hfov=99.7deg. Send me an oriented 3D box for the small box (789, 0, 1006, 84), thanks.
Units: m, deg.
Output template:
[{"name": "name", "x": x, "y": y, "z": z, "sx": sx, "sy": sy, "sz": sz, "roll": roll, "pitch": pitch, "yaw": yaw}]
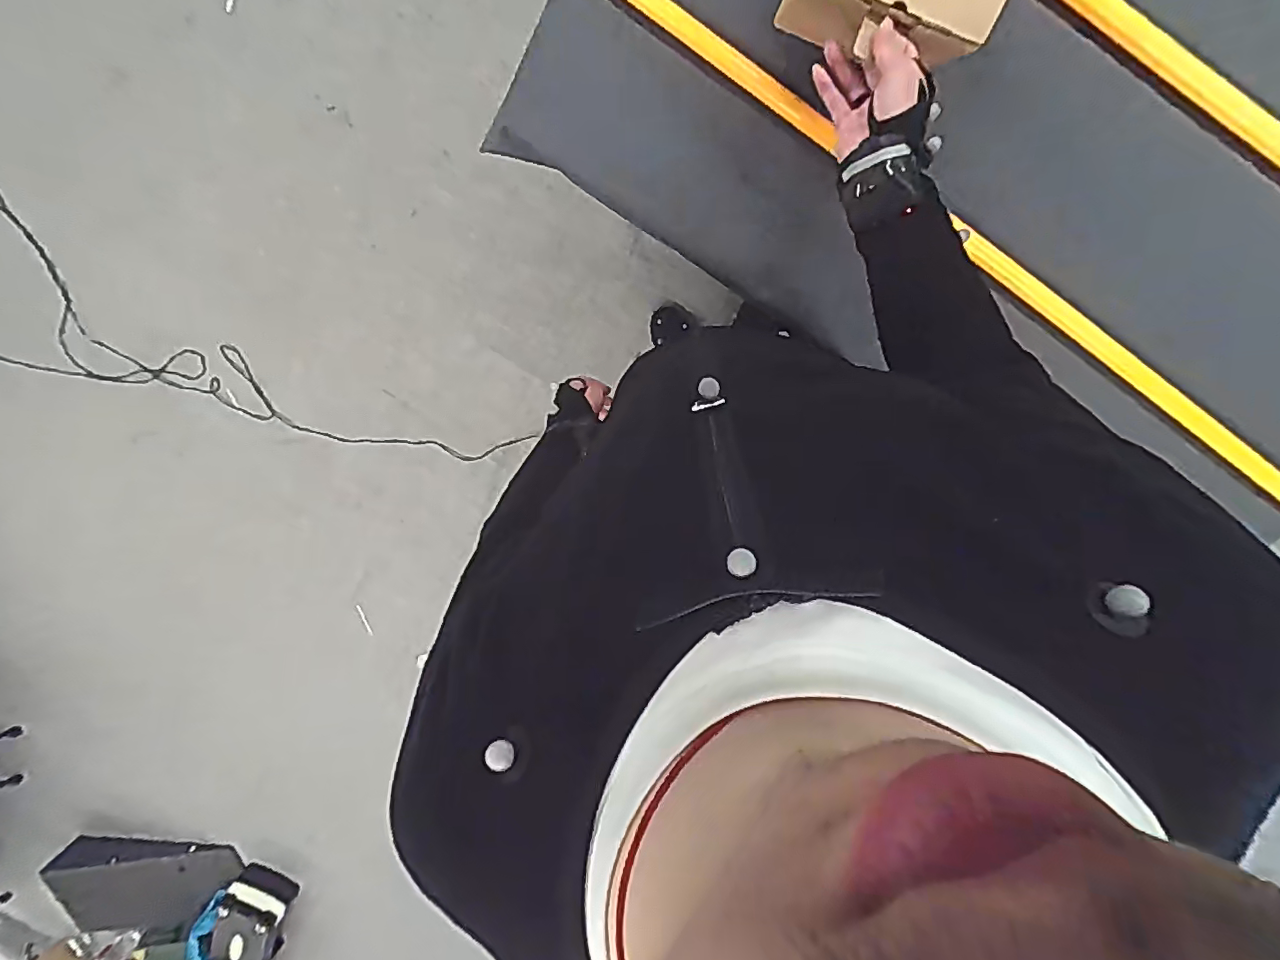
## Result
[{"name": "small box", "x": 0.254, "y": -0.506, "z": 0.513, "sx": 0.168, "sy": 0.176, "sz": 0.179, "roll": 14, "pitch": 119, "yaw": -4}]
